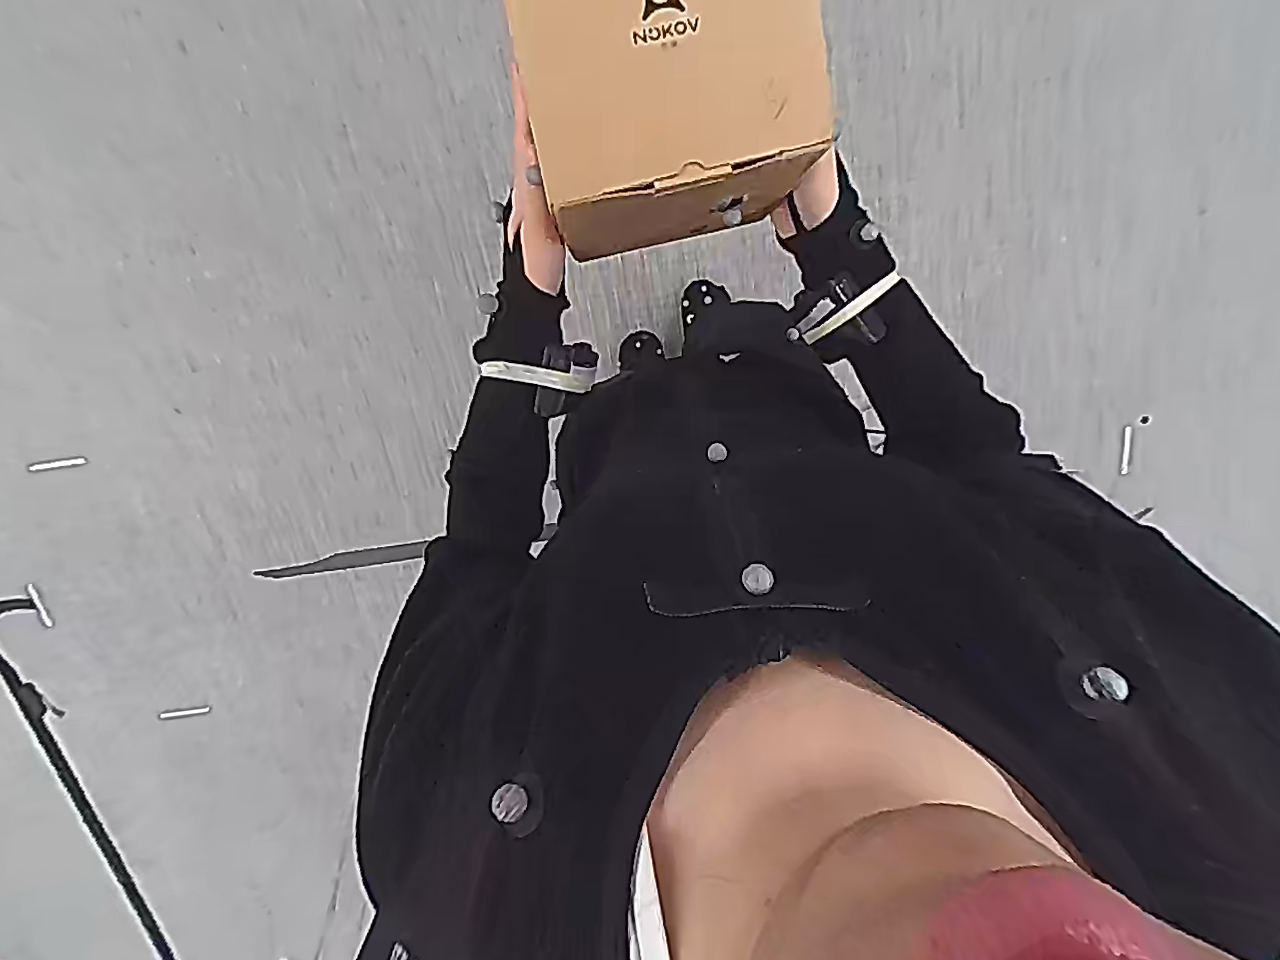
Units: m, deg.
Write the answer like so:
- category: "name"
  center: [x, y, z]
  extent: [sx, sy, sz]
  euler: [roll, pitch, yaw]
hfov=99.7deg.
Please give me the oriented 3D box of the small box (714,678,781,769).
- category: "small box"
  center: [0.320, 0.725, 1.621]
  extent: [0.168, 0.176, 0.179]
  euler: [-7, 107, 0]
